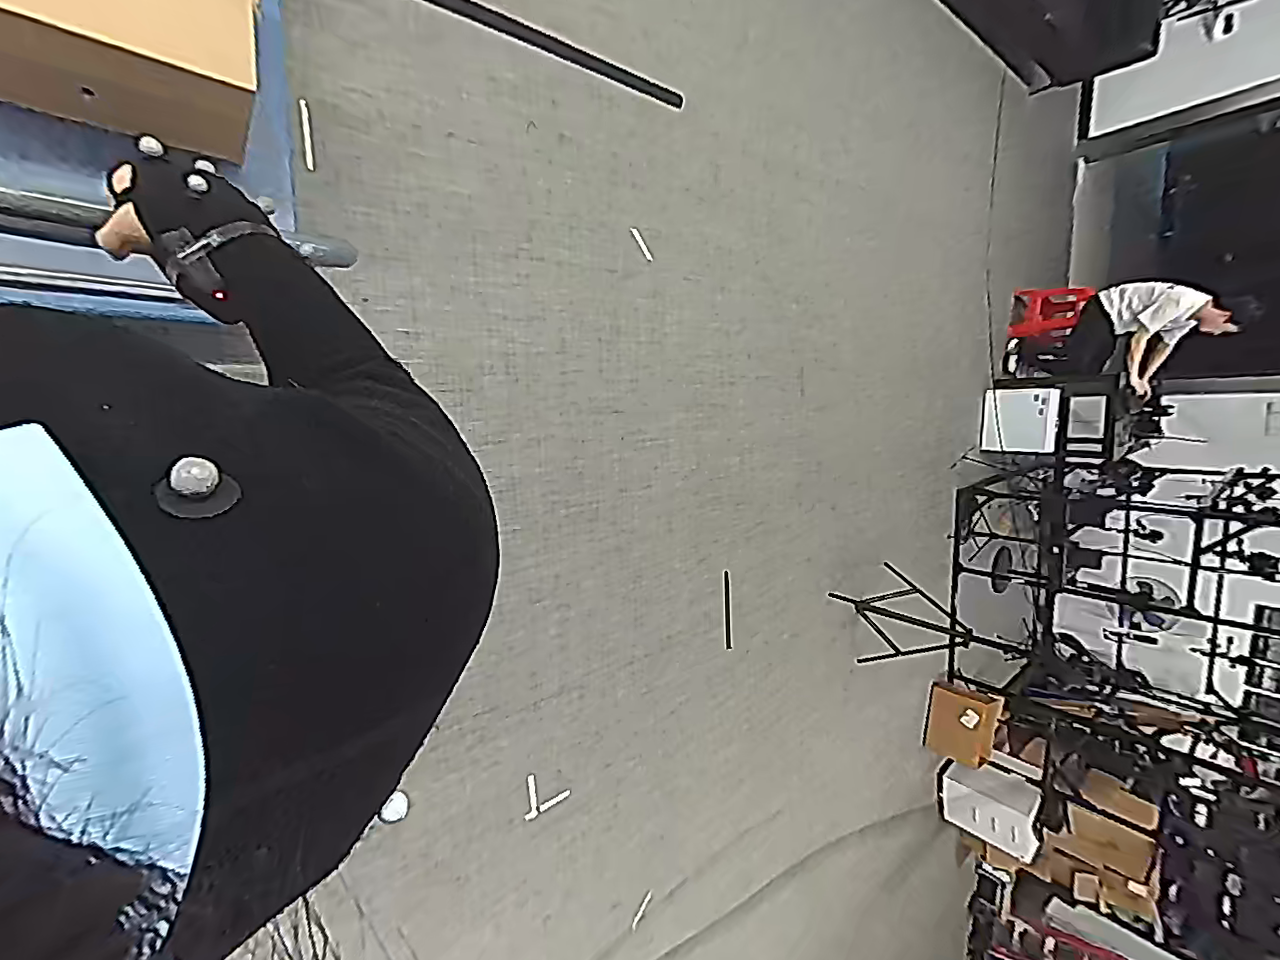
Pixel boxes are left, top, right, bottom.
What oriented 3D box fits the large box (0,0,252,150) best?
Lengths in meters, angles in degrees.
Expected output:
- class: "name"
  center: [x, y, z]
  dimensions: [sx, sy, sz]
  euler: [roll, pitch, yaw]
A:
- class: "large box"
  center: [-0.836, -0.753, 0.793]
  dimensions: [0.408, 0.320, 0.320]
  euler: [-4, 98, -39]
